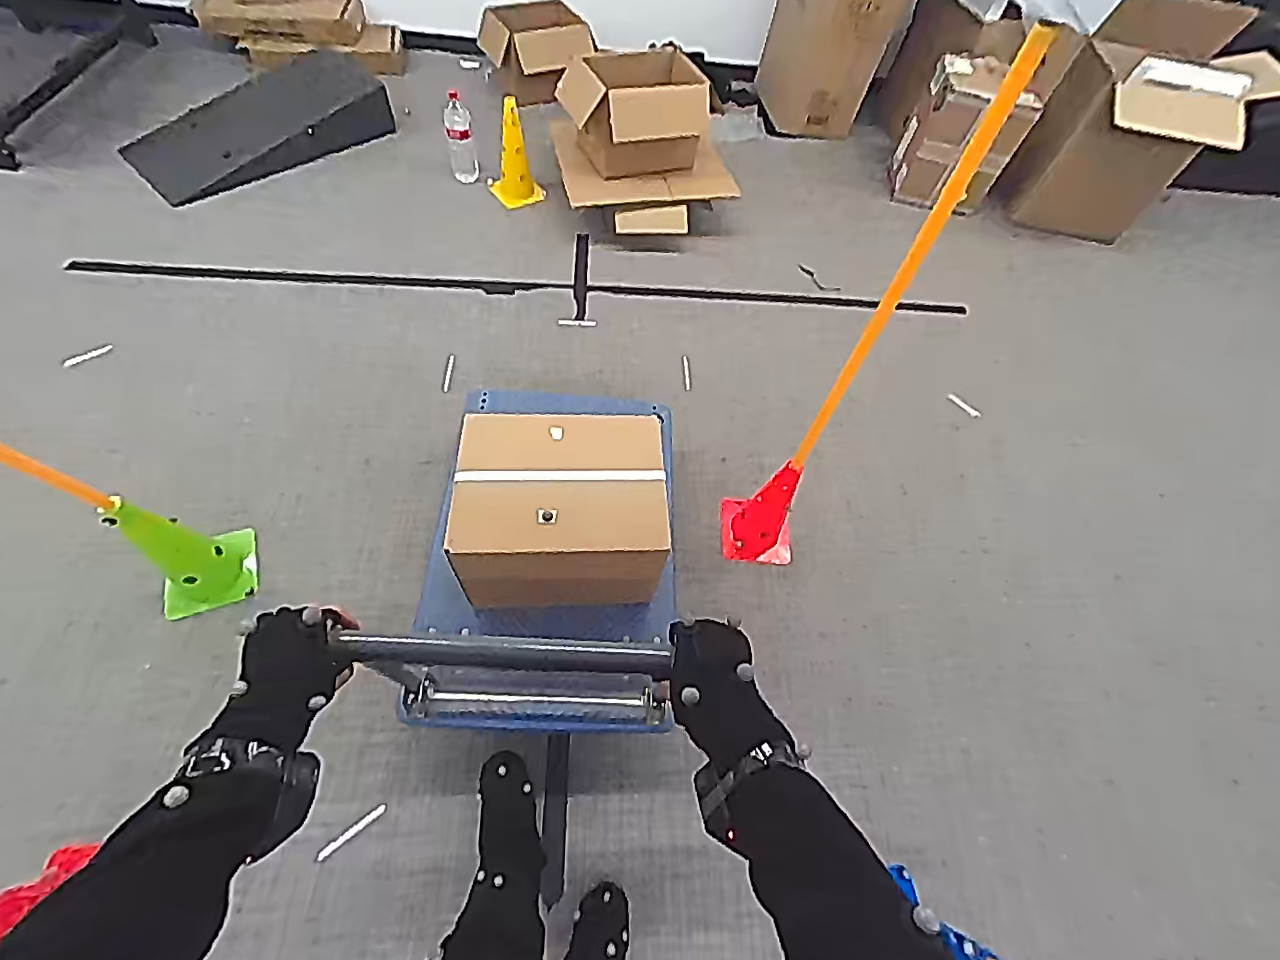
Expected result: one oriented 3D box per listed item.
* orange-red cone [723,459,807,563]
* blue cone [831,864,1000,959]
[{"bbox_3d":[0.361,0.055,1.429,0.199,0.360,0.198,7,58,-4],"label":"orange-red cone"},{"bbox_3d":[0.521,0.832,0.981,0.193,0.380,0.192,-2,57,-9],"label":"blue cone"}]
